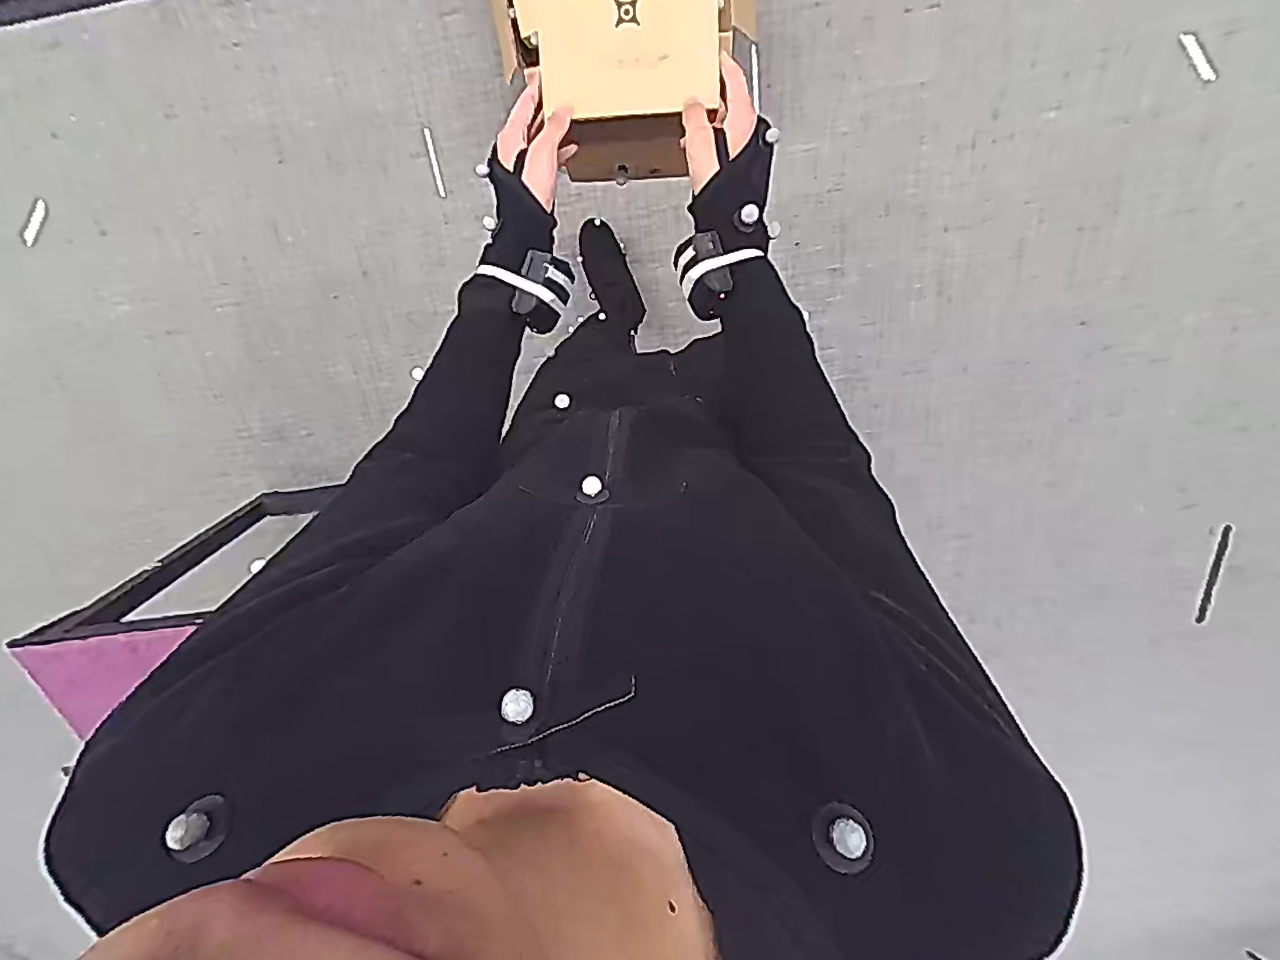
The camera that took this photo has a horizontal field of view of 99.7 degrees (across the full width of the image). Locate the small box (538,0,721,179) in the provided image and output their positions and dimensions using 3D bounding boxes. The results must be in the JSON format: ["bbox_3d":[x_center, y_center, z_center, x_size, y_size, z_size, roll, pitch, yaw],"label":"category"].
[{"bbox_3d":[-0.008,-0.439,0.559,0.168,0.176,0.179,-2,101,2],"label":"small box"}]

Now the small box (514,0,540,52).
[{"bbox_3d":[-0.144,-0.913,0.989,0.168,0.176,0.179,-9,115,4],"label":"small box"}]
